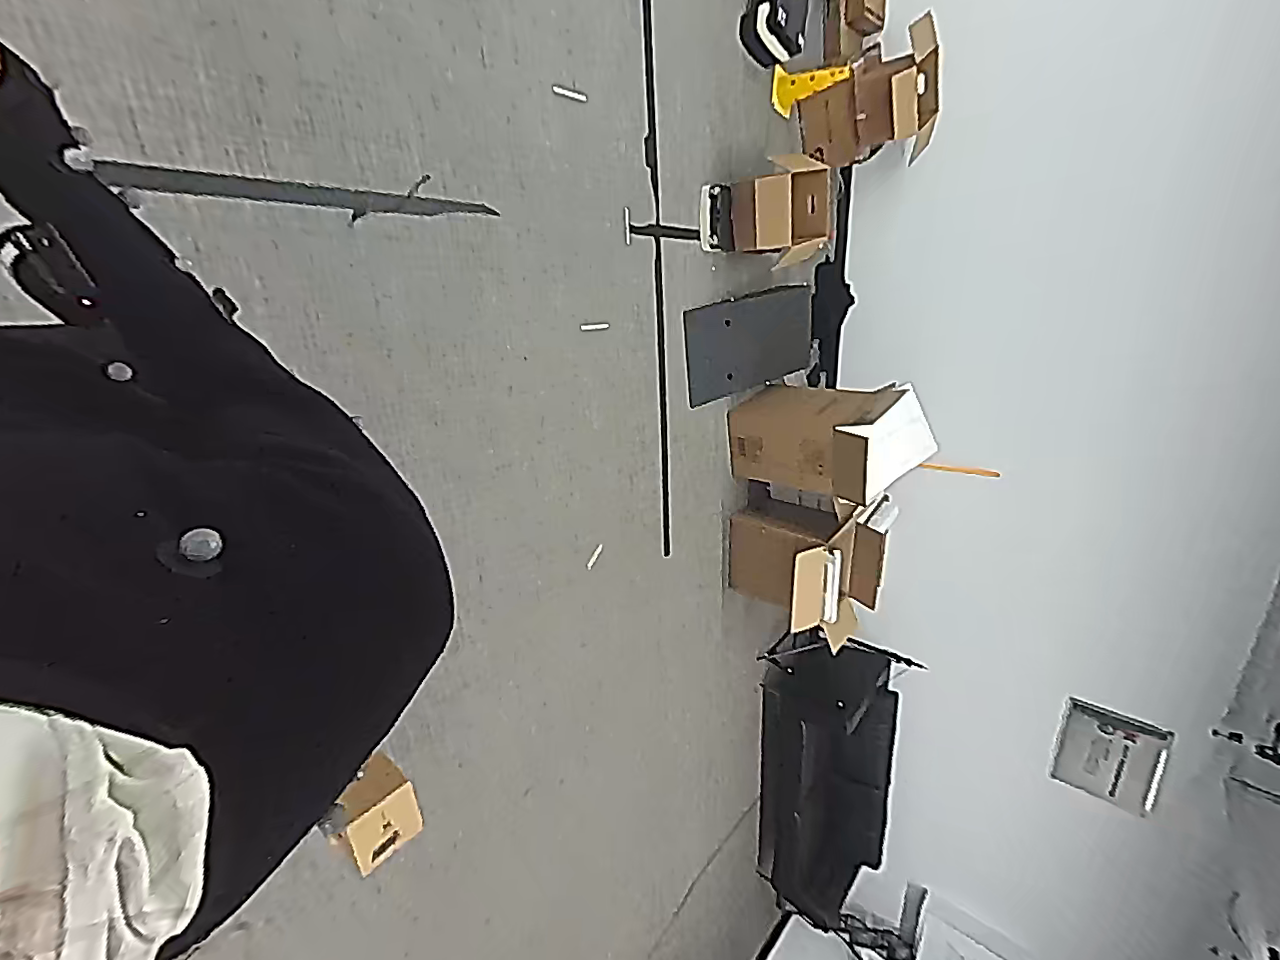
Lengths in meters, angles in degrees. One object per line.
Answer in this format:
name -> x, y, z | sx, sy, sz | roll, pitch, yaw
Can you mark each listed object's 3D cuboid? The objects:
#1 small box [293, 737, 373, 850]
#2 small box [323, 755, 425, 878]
small box -> -0.825, 0.863, 1.509 | 0.179, 0.176, 0.168 | -29, 122, -42
small box -> -0.692, 0.866, 1.408 | 0.168, 0.176, 0.179 | -25, 118, -45
